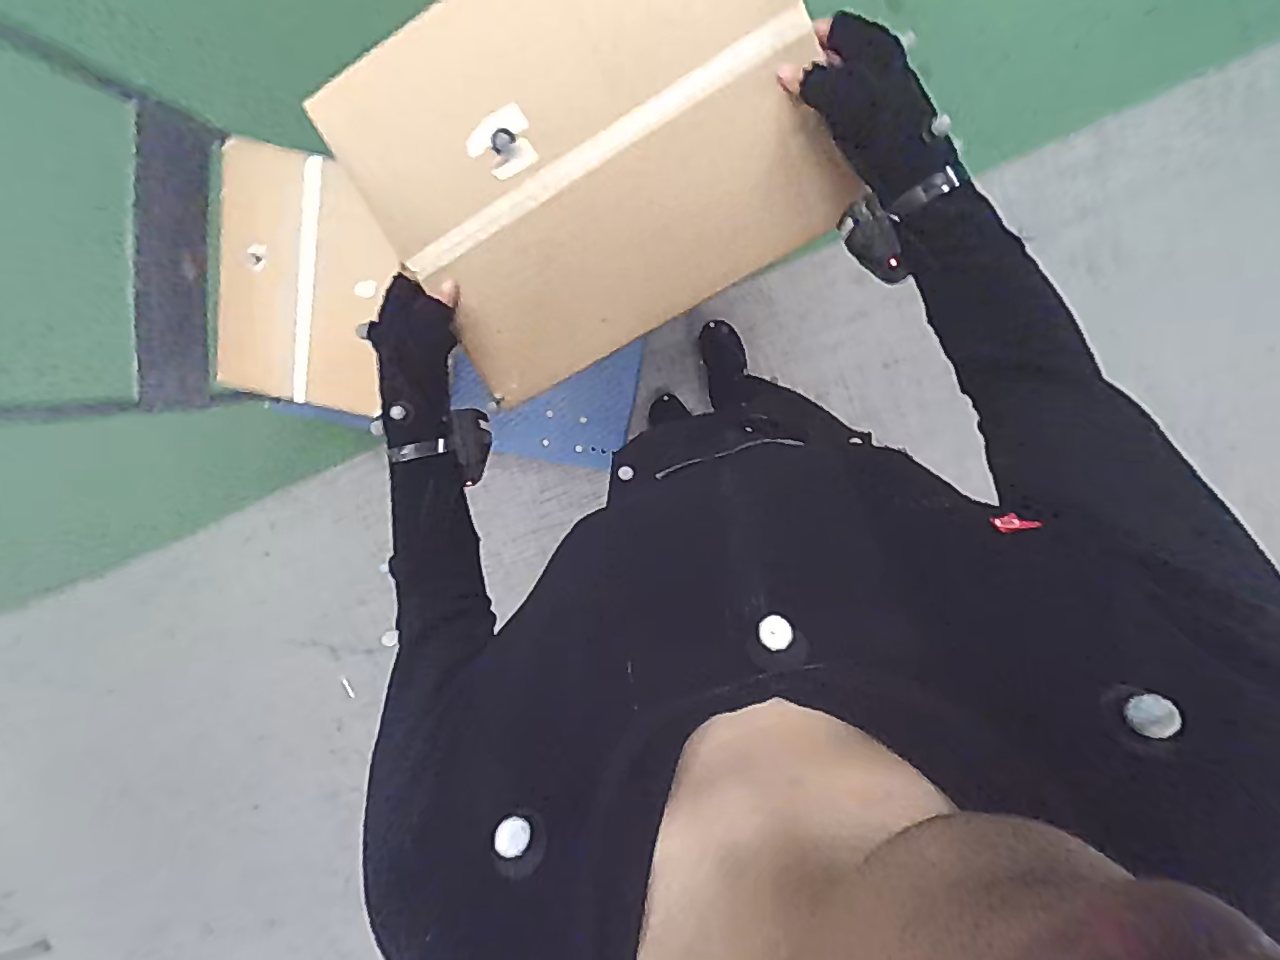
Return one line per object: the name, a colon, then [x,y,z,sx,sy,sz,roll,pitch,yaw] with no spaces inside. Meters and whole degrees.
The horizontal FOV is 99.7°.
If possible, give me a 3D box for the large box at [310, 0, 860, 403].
large box: [-0.040,-0.346,0.613,0.408,0.320,0.320,-26,108,11]
